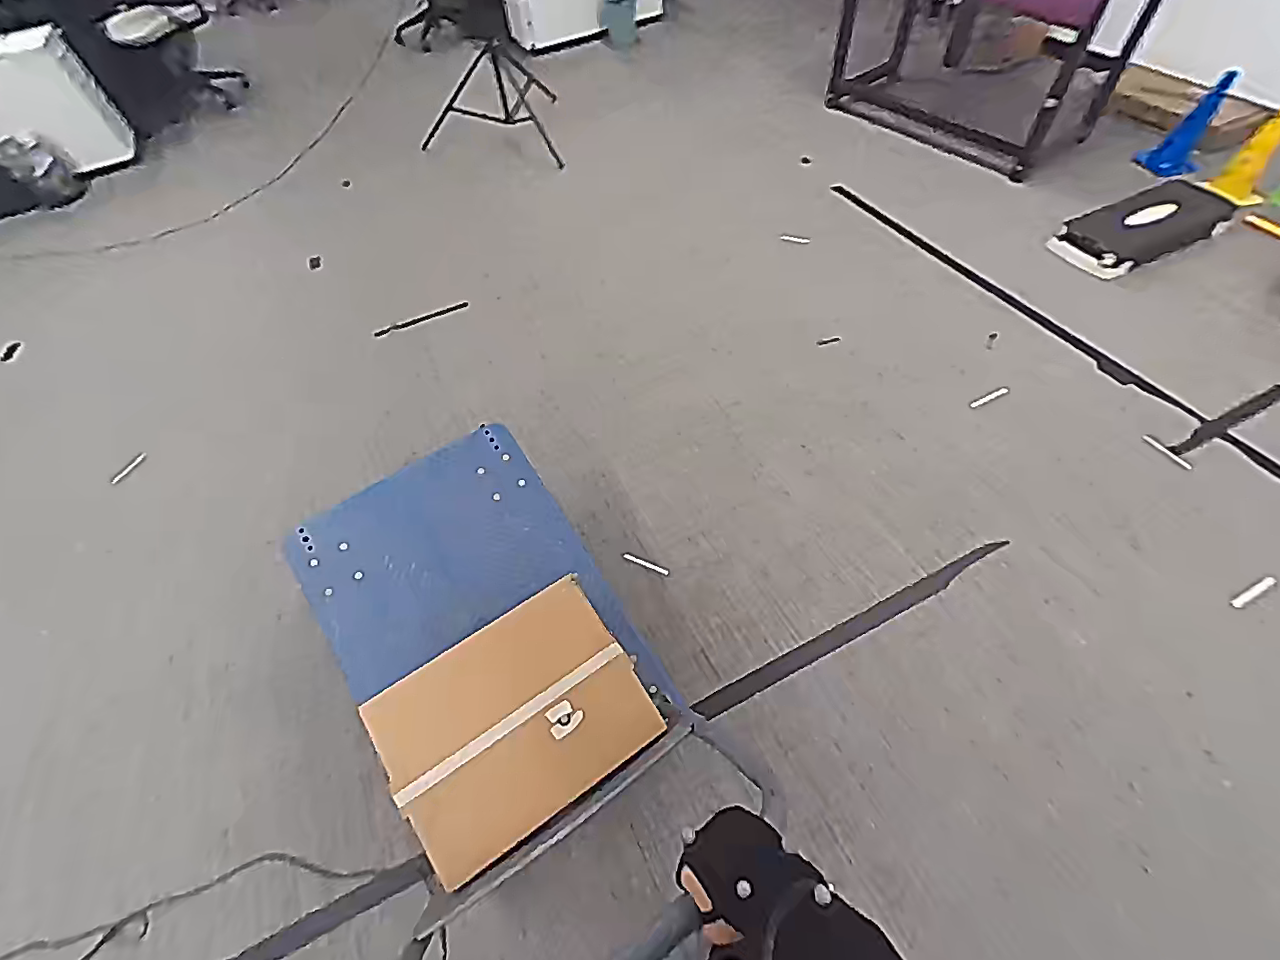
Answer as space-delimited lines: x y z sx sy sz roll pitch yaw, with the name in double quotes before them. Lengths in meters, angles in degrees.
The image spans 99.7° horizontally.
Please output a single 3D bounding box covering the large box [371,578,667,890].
"large box" -0.213 0.455 1.040 0.408 0.320 0.320 -32 76 -17
